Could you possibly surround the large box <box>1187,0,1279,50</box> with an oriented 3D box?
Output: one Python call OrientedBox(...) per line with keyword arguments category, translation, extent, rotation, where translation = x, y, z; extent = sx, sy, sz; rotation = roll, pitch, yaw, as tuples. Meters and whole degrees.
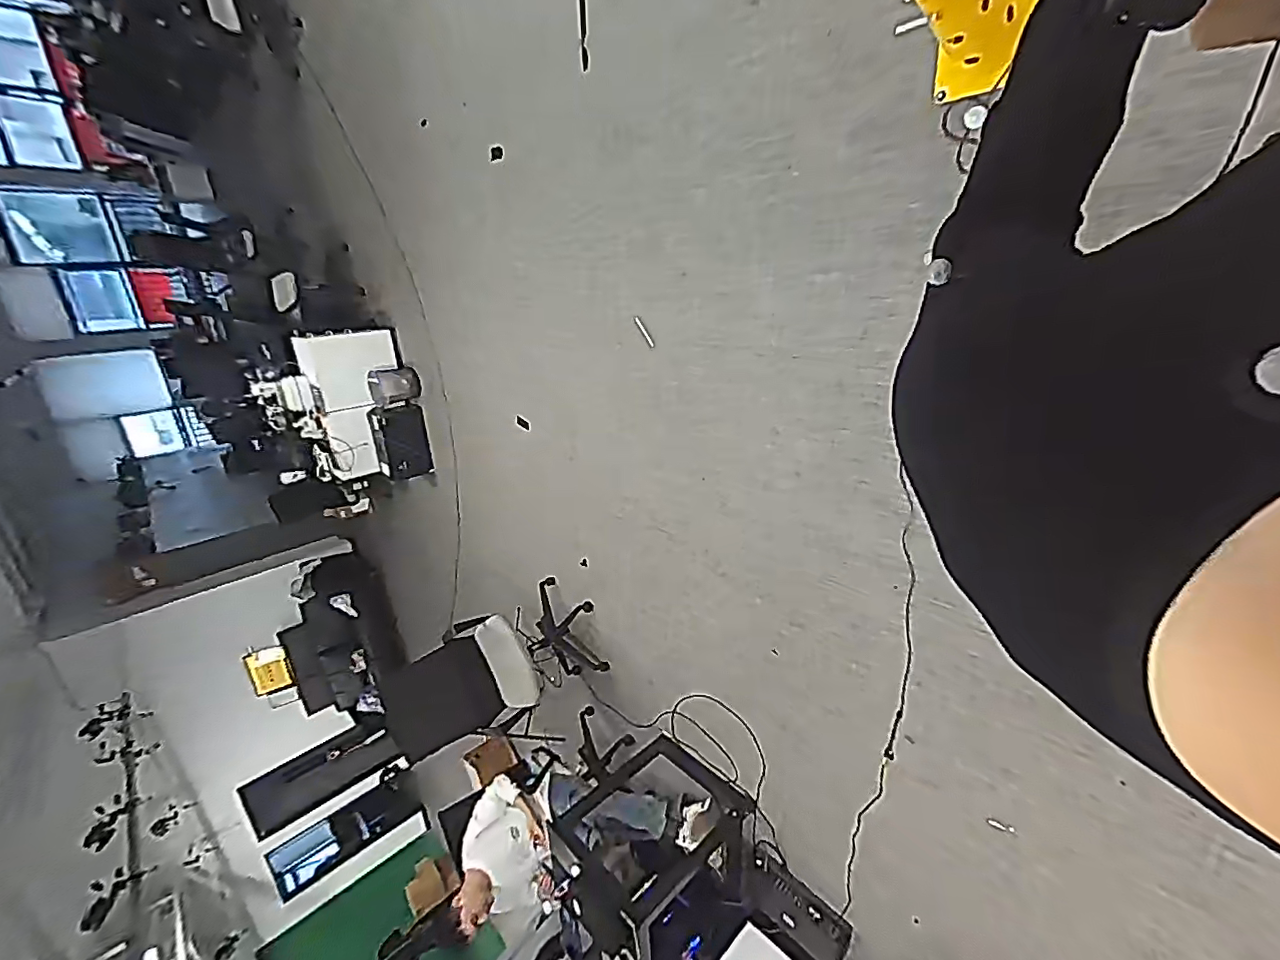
OrientedBox(category="large box", translation=(0.560, -0.445, 0.232), extent=(0.408, 0.320, 0.320), rotation=(21, 124, 39))
